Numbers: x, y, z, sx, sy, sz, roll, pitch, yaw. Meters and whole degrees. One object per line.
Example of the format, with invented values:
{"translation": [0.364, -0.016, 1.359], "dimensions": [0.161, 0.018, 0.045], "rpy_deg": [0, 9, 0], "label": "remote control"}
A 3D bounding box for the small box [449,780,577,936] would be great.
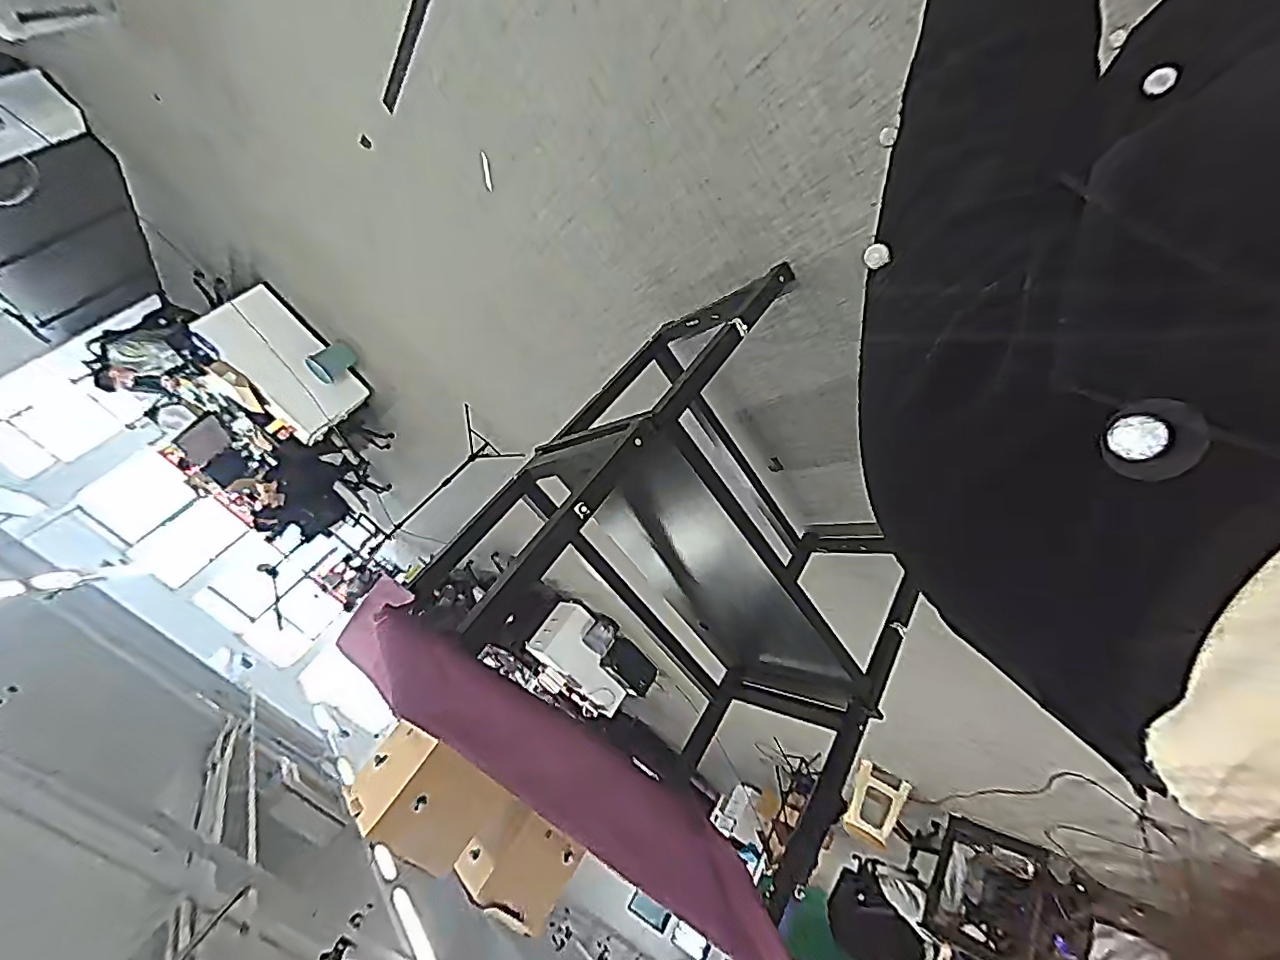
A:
{"translation": [-0.250, 0.732, 1.067], "dimensions": [0.179, 0.176, 0.168], "rpy_deg": [-6, 129, 54], "label": "small box"}

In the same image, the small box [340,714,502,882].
{"translation": [-0.384, 0.550, 0.957], "dimensions": [0.168, 0.176, 0.179], "rpy_deg": [-1, 134, 51], "label": "small box"}
